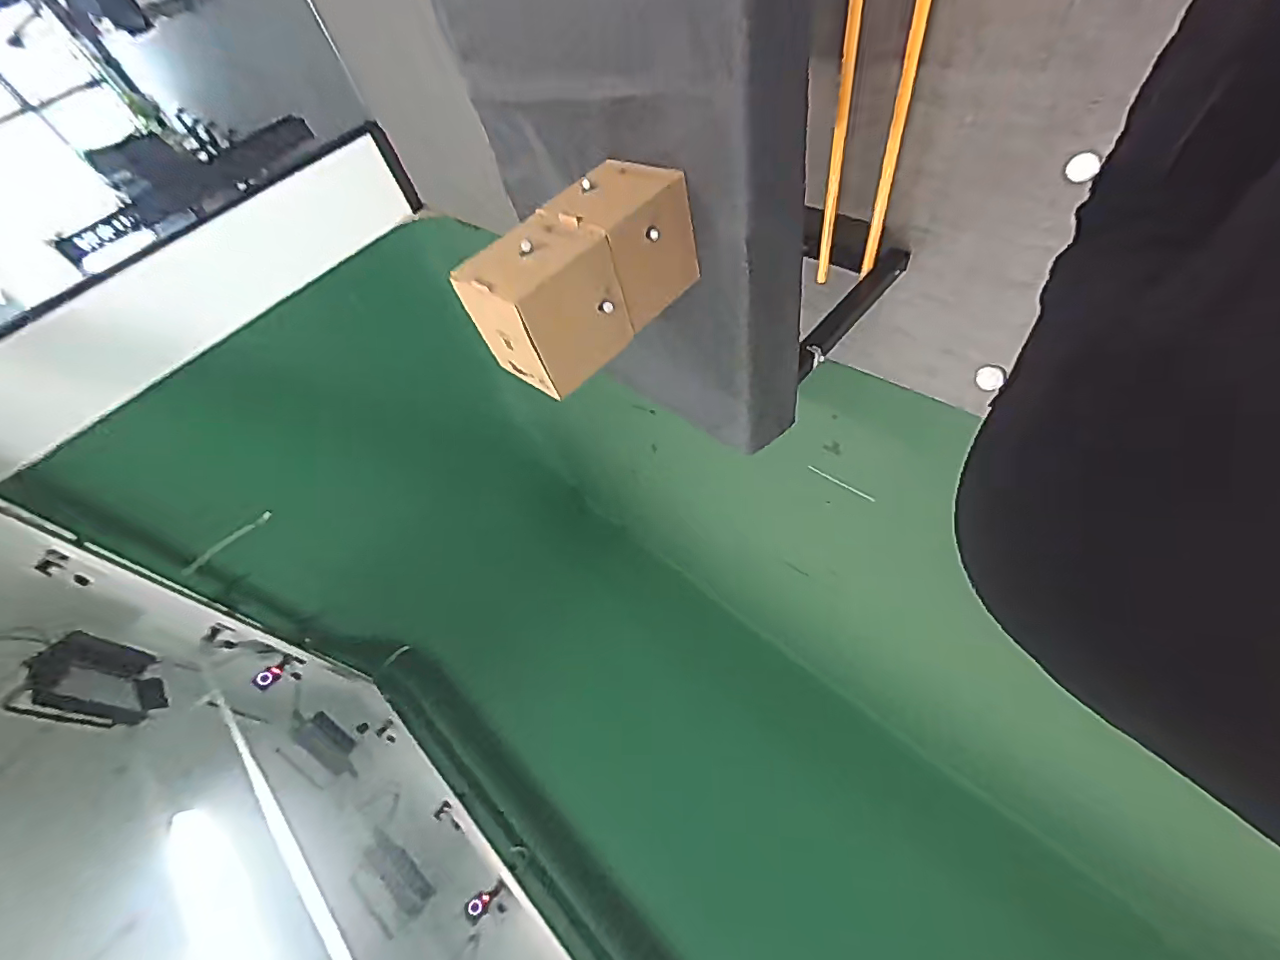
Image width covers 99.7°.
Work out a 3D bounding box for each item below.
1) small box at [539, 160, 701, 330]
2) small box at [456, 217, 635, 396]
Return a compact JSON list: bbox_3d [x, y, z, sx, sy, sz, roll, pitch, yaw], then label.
[{"bbox_3d":[-0.023,-0.379,0.864,0.168,0.176,0.179,33,159,34],"label":"small box"},{"bbox_3d":[-0.133,-0.266,0.816,0.168,0.176,0.179,33,158,34],"label":"small box"}]
